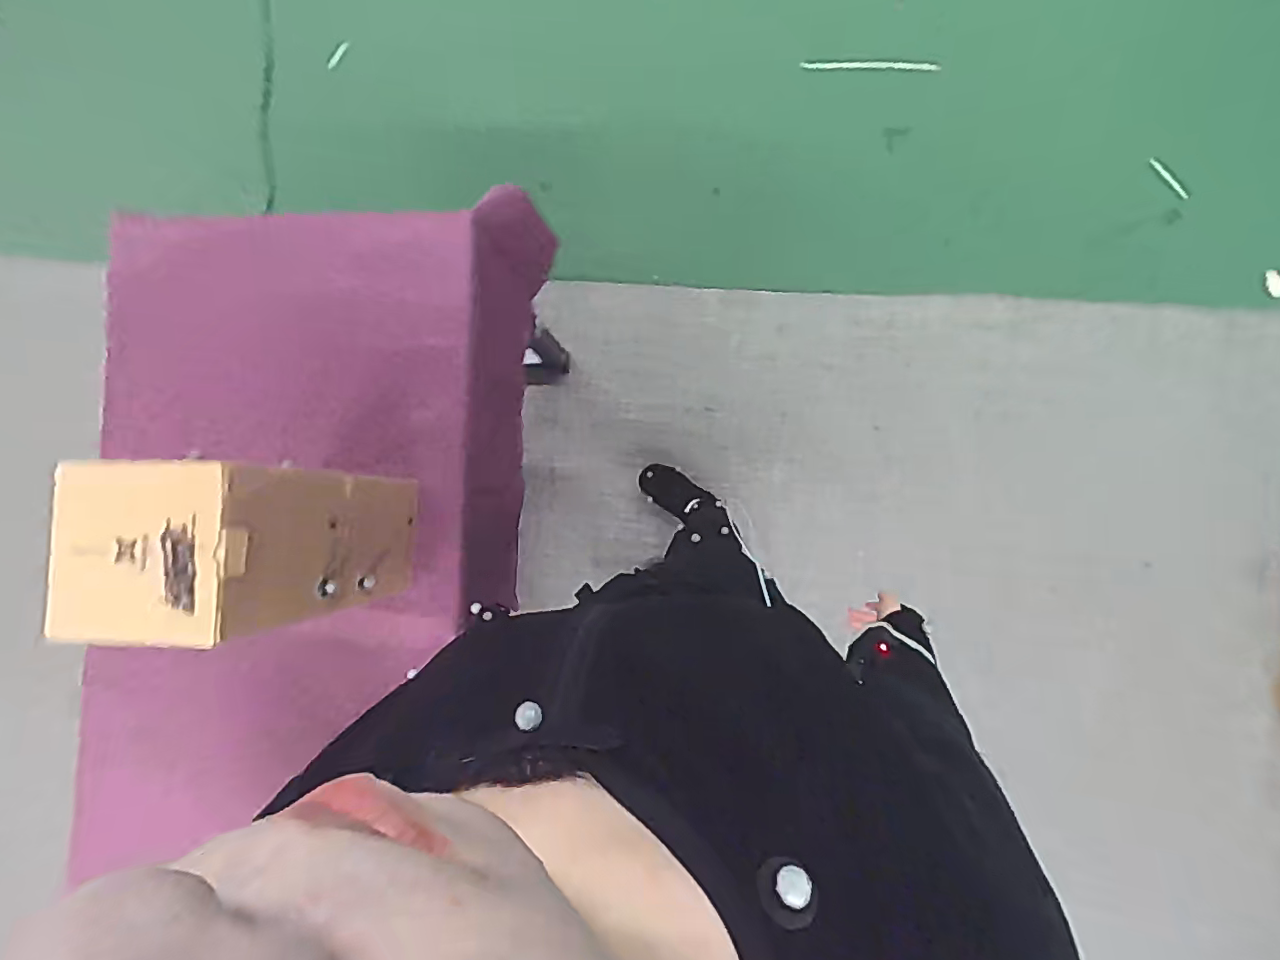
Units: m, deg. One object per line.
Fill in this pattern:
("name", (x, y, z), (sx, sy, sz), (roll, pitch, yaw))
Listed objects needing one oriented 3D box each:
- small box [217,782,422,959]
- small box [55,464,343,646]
("small box", (-0.419, 0.528, 0.712), (0.179, 0.176, 0.168), (6, 88, 5))
("small box", (-0.446, 0.070, 0.574), (0.179, 0.176, 0.168), (0, 87, 7))
